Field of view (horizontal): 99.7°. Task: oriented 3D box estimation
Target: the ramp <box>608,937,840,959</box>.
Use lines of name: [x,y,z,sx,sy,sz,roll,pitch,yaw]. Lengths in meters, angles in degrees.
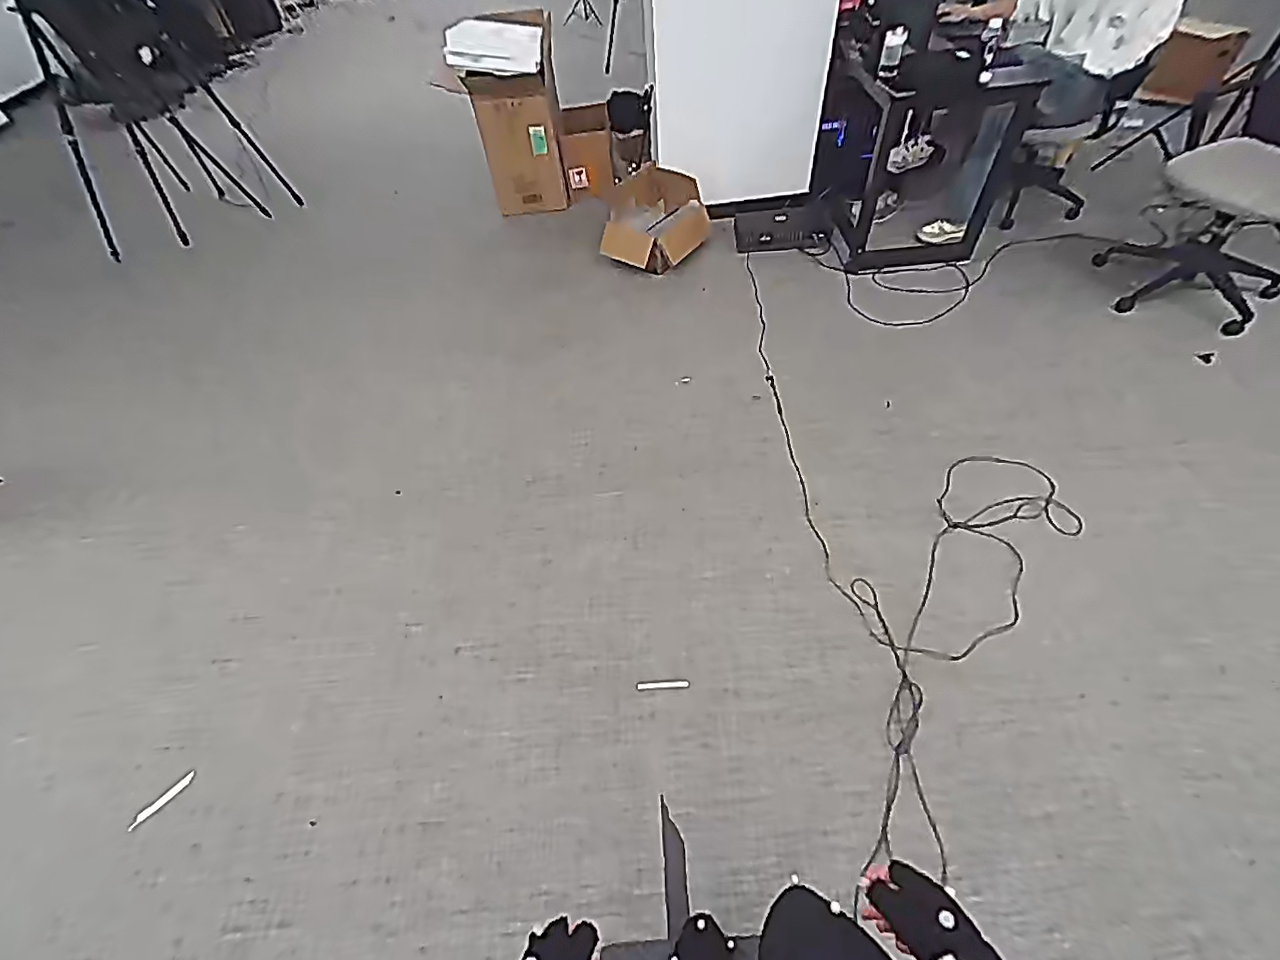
ramp: [0.185,1.302,0.759,0.509,0.206,0.991,-7,51,1]
